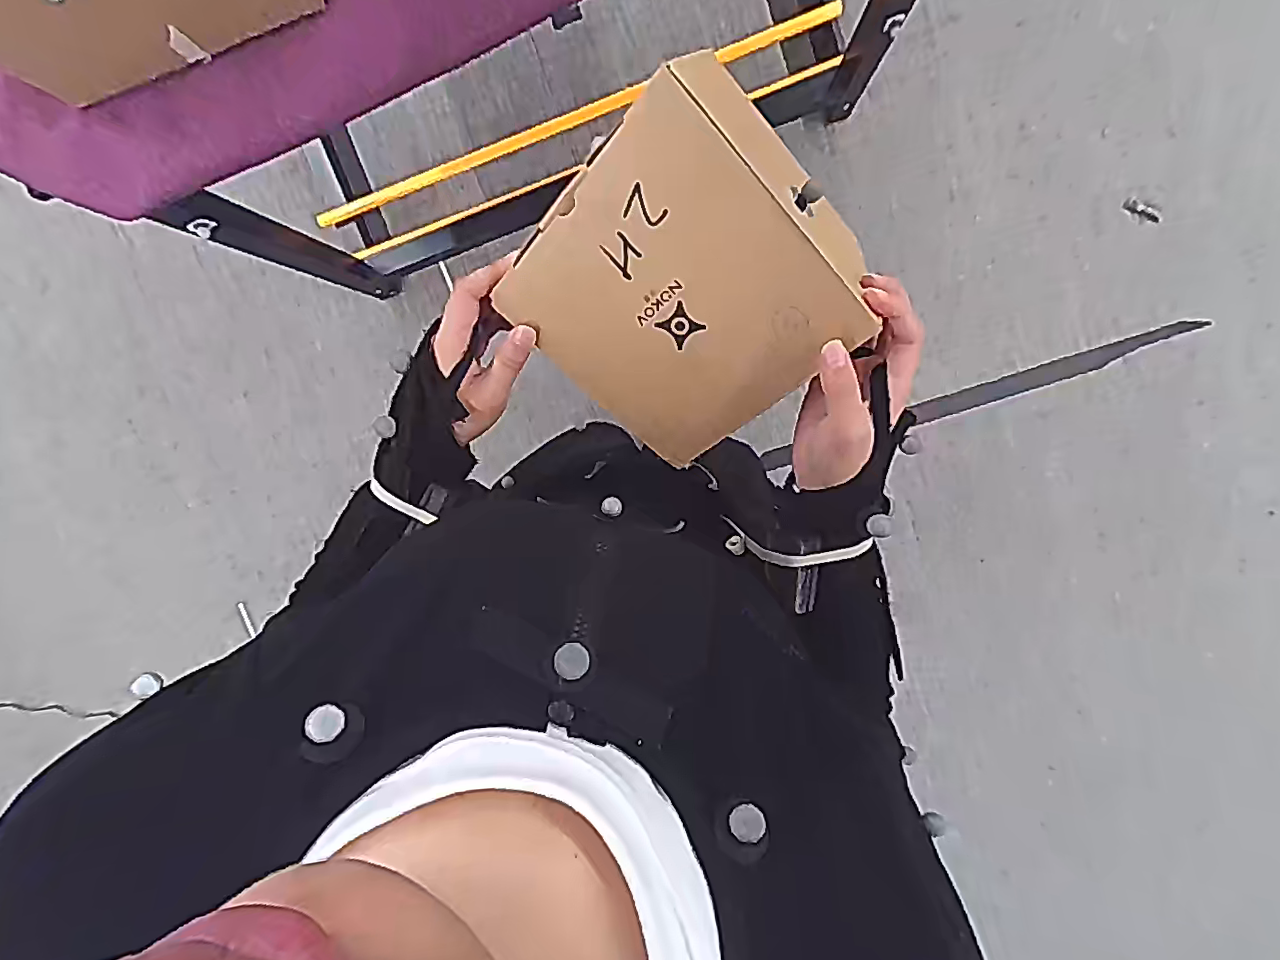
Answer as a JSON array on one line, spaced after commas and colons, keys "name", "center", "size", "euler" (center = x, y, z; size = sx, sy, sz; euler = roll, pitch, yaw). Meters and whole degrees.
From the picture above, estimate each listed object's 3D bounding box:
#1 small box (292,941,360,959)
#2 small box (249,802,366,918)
[{"name": "small box", "center": [-0.803, 1.294, 1.335], "size": [0.168, 0.176, 0.179], "euler": [-26, 96, 7]}, {"name": "small box", "center": [-0.891, 1.021, 1.464], "size": [0.179, 0.176, 0.168], "euler": [-23, 97, 6]}]
